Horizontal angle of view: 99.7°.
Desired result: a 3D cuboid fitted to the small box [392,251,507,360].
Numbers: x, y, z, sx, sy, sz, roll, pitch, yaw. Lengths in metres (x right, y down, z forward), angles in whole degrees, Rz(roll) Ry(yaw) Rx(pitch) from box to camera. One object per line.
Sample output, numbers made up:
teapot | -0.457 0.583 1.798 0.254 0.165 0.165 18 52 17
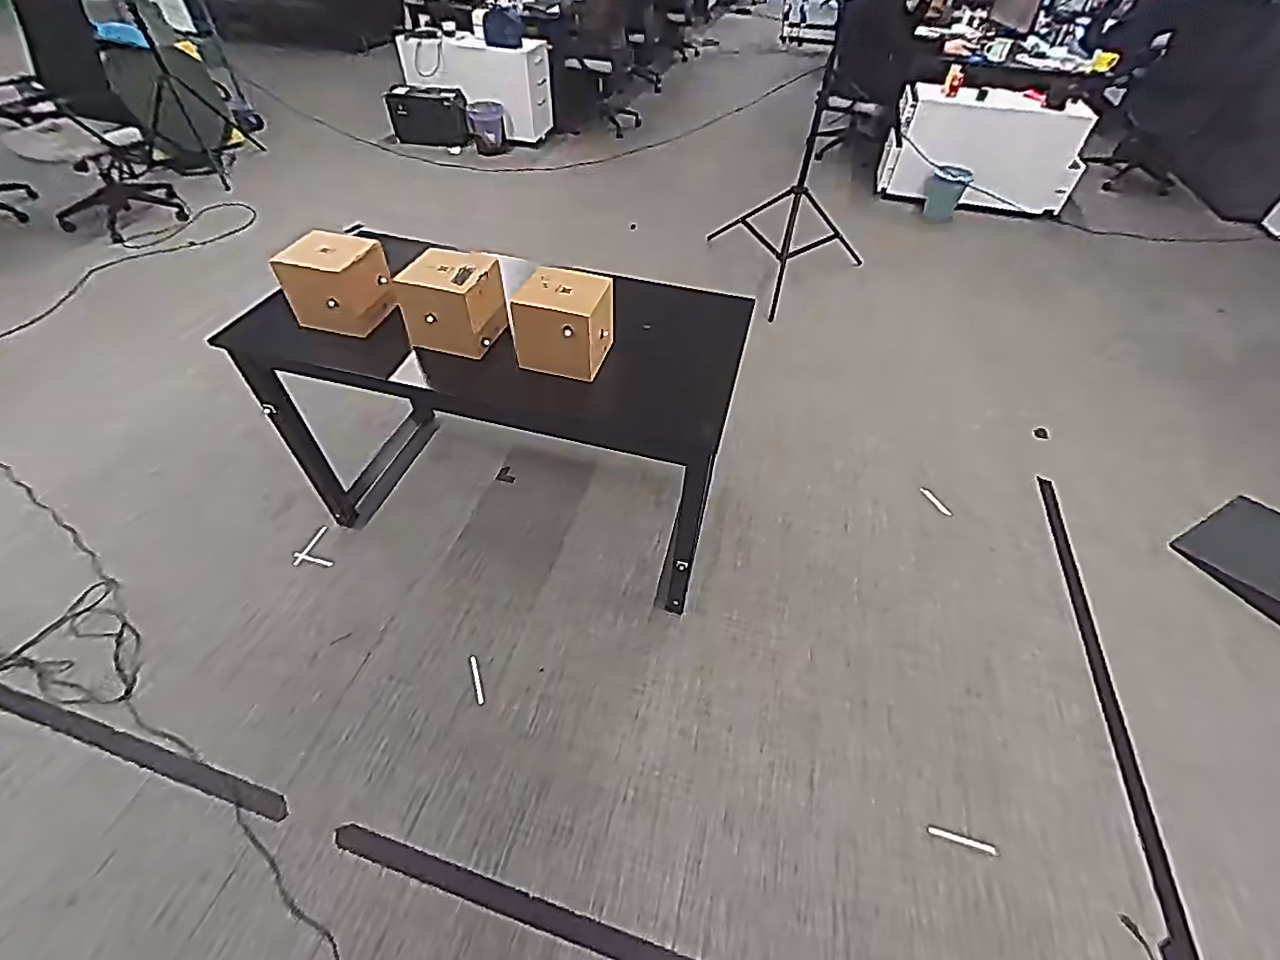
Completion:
small box | -0.428 -0.401 1.253 0.179 0.176 0.168 13 49 10

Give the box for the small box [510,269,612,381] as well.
small box | -0.167 -0.343 1.212 0.179 0.176 0.168 12 48 8

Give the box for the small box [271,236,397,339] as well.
small box | -0.715 -0.457 1.292 0.179 0.176 0.168 10 48 7
